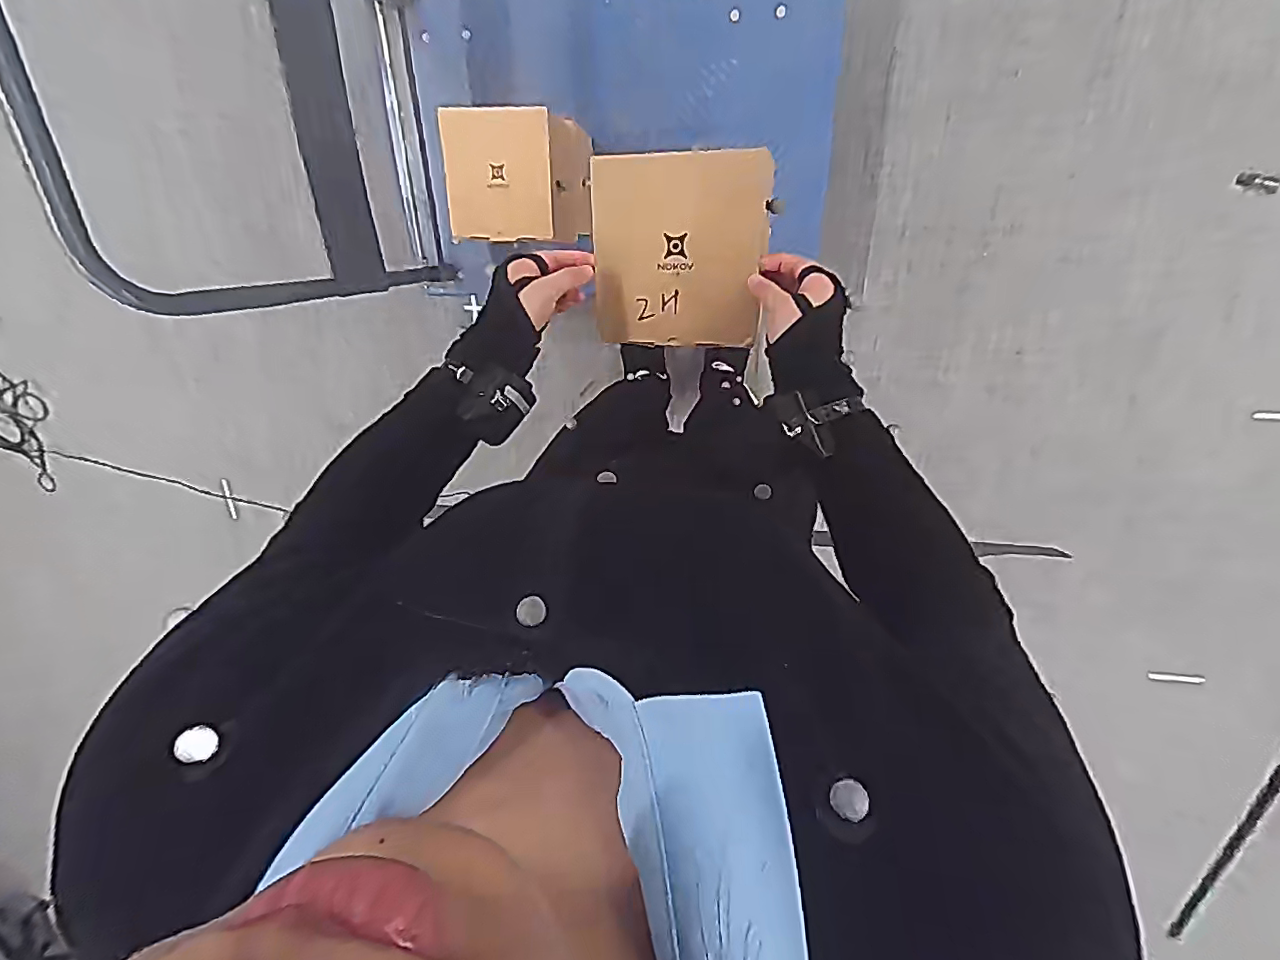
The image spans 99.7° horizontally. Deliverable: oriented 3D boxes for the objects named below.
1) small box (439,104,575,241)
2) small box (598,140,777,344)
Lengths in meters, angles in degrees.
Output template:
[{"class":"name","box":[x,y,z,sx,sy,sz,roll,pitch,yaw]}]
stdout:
[{"class":"small box","box":[-0.202,-0.484,0.872,0.168,0.176,0.179,3,115,5]},{"class":"small box","box":[0.058,-0.254,0.590,0.168,0.176,0.179,5,116,13]}]
